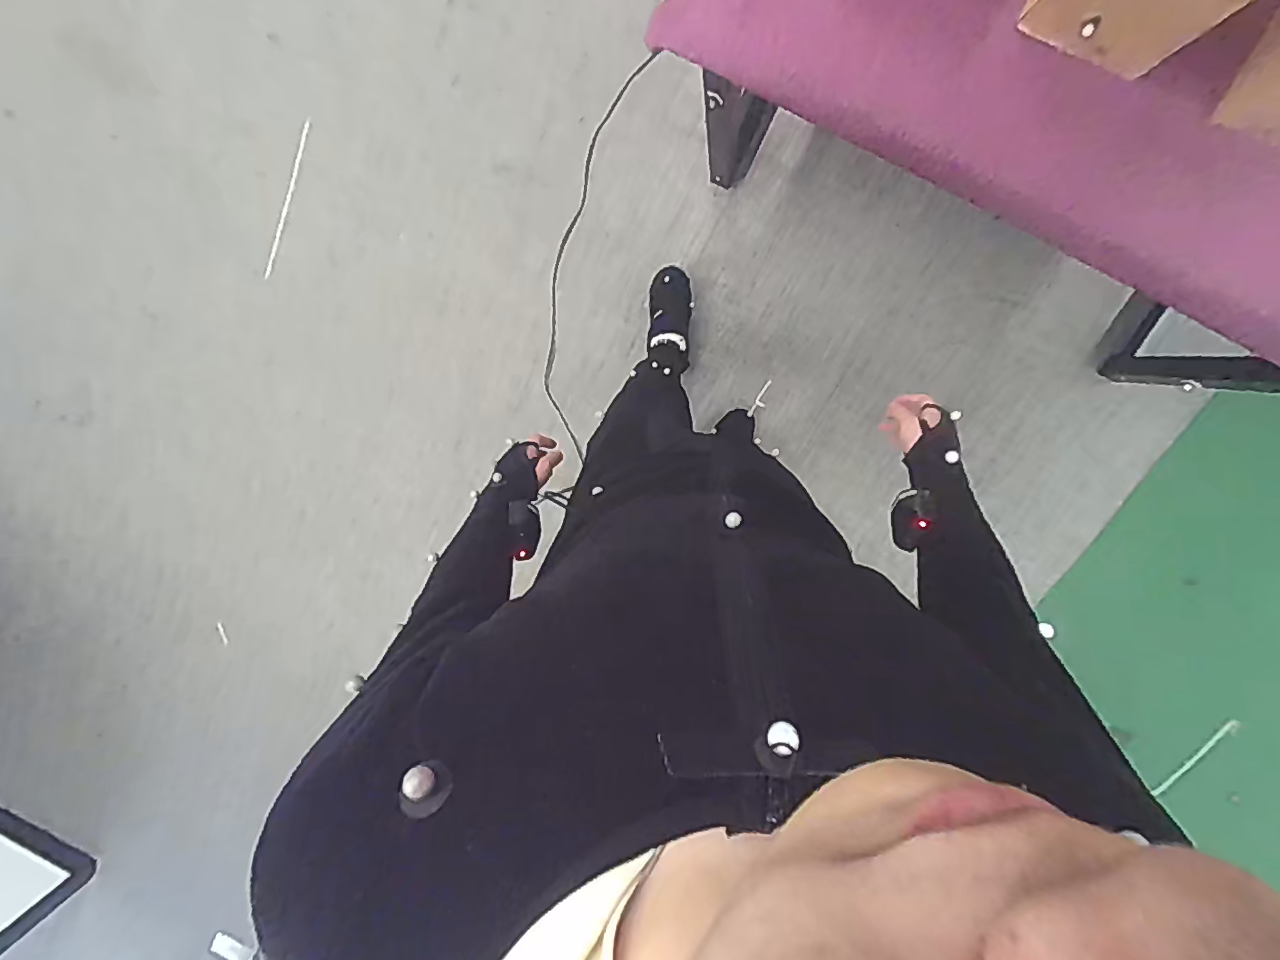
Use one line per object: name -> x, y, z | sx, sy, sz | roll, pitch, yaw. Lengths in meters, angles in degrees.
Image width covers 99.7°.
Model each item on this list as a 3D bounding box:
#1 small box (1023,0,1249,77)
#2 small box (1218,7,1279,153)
small box -> 0.572, -0.597, 0.588 | 0.168, 0.176, 0.179 | 26, 106, 2
small box -> 0.807, -0.476, 0.578 | 0.168, 0.176, 0.179 | 25, 105, 3
